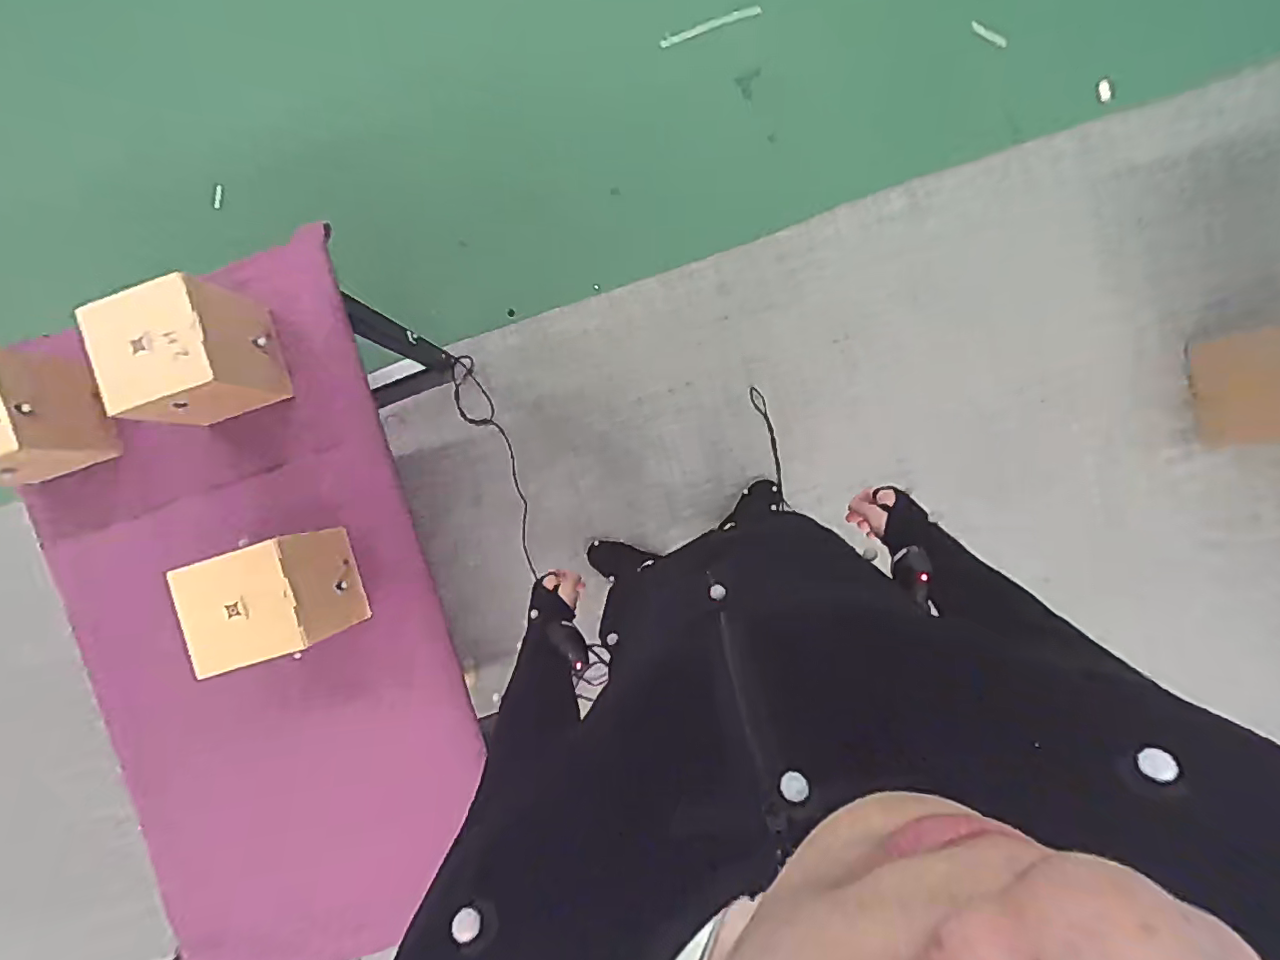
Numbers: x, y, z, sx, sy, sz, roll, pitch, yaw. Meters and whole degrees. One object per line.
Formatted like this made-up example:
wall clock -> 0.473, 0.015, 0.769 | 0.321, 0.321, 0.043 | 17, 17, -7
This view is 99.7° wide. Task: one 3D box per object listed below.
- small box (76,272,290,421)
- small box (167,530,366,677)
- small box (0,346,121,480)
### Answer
small box -> -0.708, -0.198, 0.857 | 0.179, 0.176, 0.168 | -17, 90, 3
small box -> -0.576, 0.184, 0.855 | 0.179, 0.176, 0.168 | -17, 89, 3
small box -> -1.013, -0.098, 0.869 | 0.179, 0.176, 0.168 | -18, 91, 1
